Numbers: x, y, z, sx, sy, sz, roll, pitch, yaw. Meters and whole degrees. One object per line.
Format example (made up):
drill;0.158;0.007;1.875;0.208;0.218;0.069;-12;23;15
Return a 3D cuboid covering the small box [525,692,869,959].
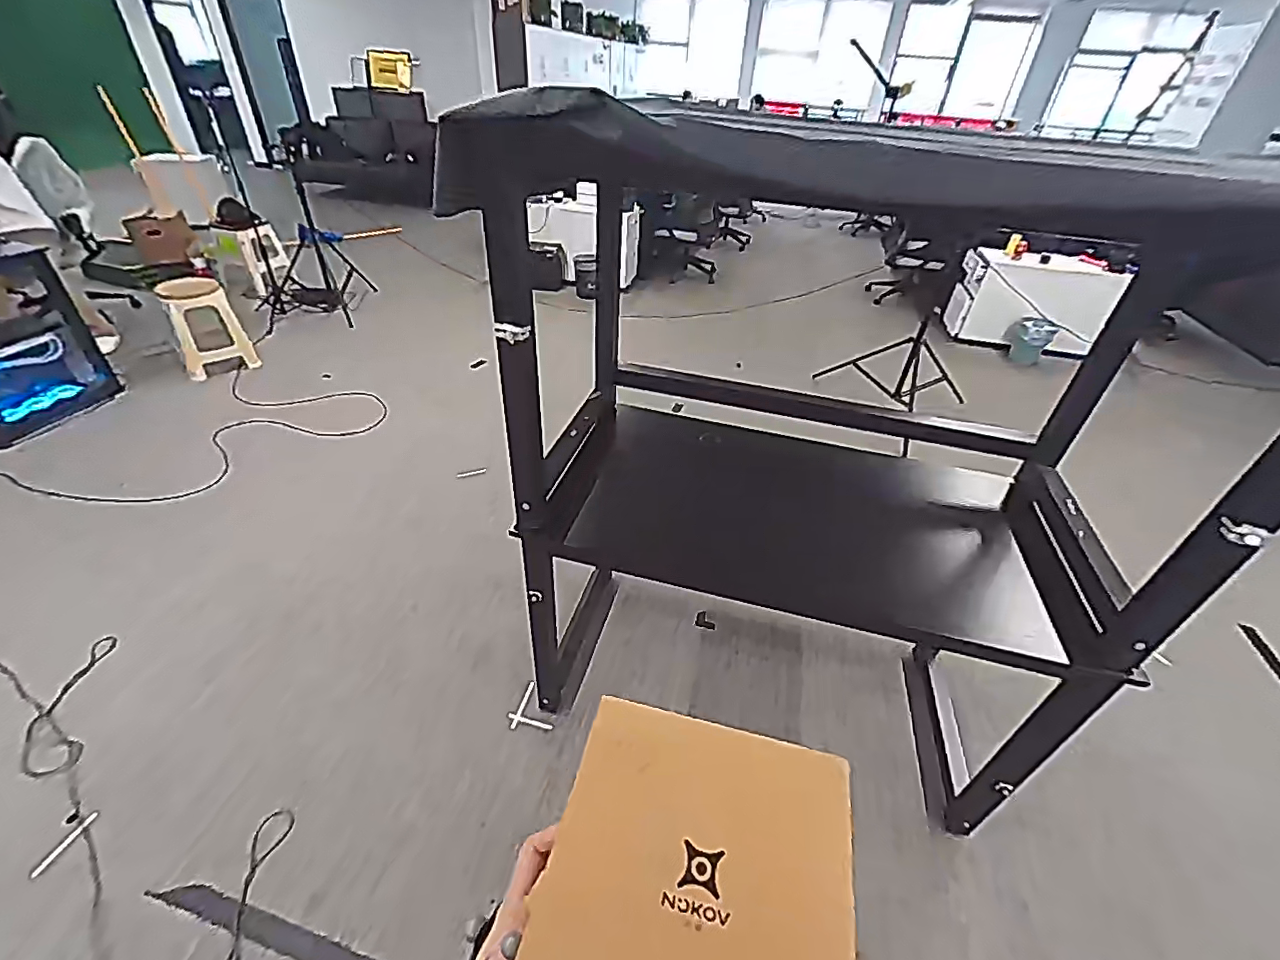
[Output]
small box;0.033;0.273;0.341;0.168;0.176;0.179;11;41;9
